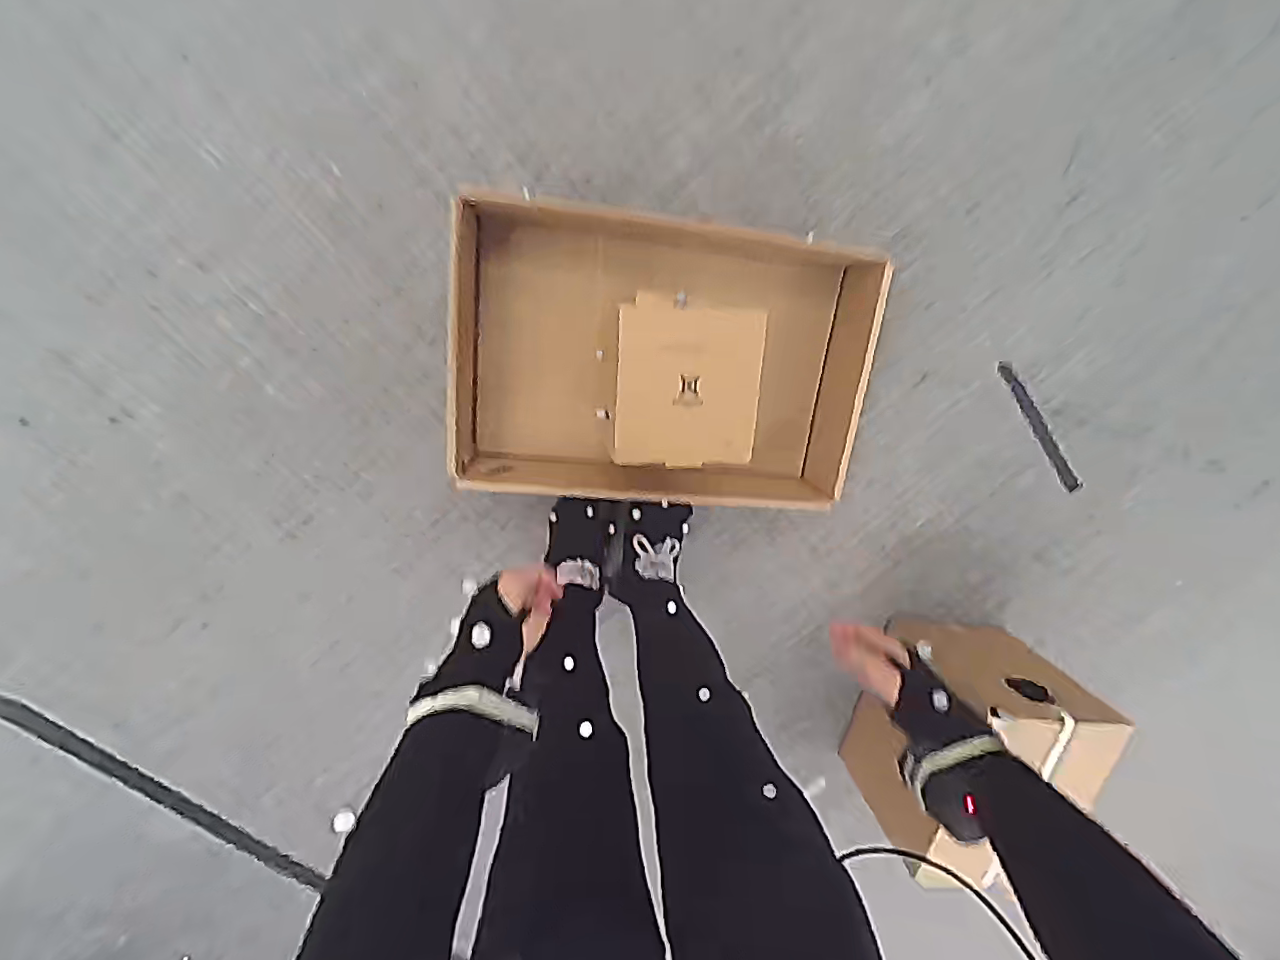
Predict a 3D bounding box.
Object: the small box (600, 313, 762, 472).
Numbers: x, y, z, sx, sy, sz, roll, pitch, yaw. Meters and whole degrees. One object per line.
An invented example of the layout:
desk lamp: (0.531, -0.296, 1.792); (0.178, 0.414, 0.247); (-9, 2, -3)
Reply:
small box: (0.040, -0.117, 0.686); (0.168, 0.176, 0.179); (-1, 107, -10)
